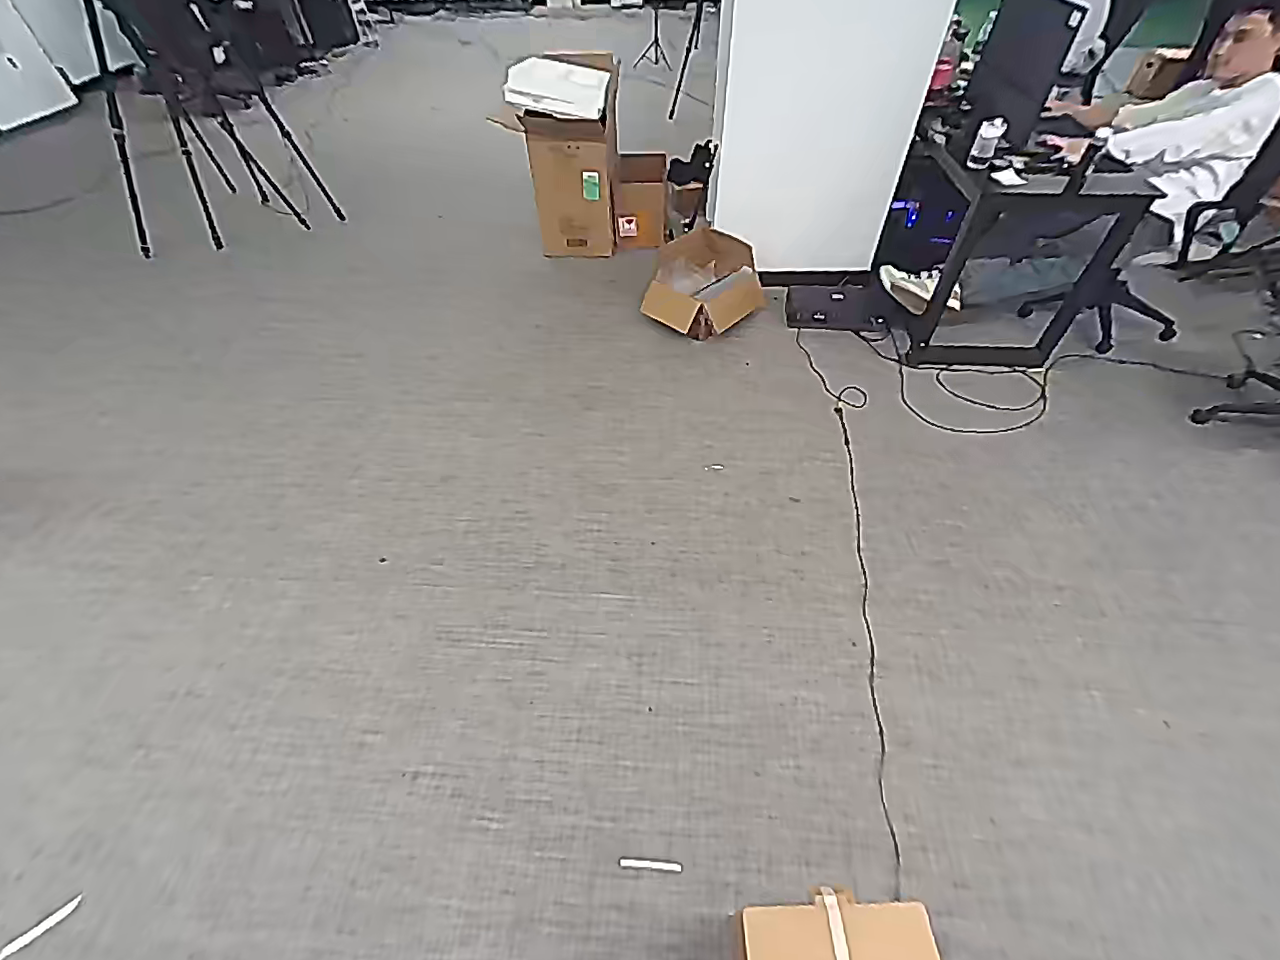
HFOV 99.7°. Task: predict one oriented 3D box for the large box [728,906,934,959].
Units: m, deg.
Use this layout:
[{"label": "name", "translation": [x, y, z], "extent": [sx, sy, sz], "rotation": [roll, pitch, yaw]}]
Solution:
[{"label": "large box", "translation": [0.341, 0.993, 0.922], "extent": [0.320, 0.320, 0.408], "rotation": [-3, 50, 2]}]
